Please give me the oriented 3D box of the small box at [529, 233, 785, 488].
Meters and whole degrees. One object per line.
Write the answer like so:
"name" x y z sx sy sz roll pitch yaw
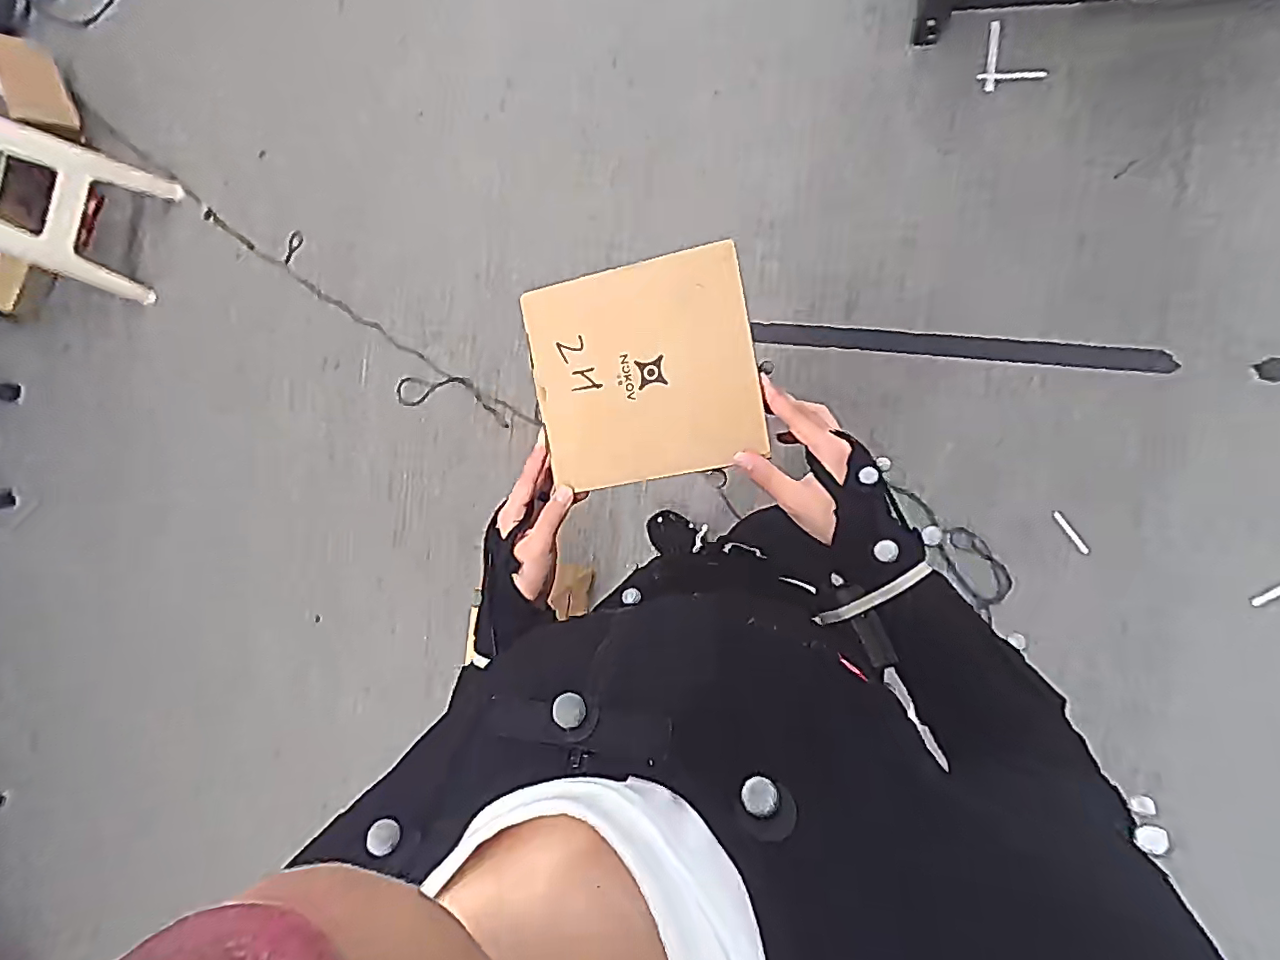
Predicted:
"small box" 0.025 -0.092 0.485 0.179 0.176 0.168 -9 92 13
